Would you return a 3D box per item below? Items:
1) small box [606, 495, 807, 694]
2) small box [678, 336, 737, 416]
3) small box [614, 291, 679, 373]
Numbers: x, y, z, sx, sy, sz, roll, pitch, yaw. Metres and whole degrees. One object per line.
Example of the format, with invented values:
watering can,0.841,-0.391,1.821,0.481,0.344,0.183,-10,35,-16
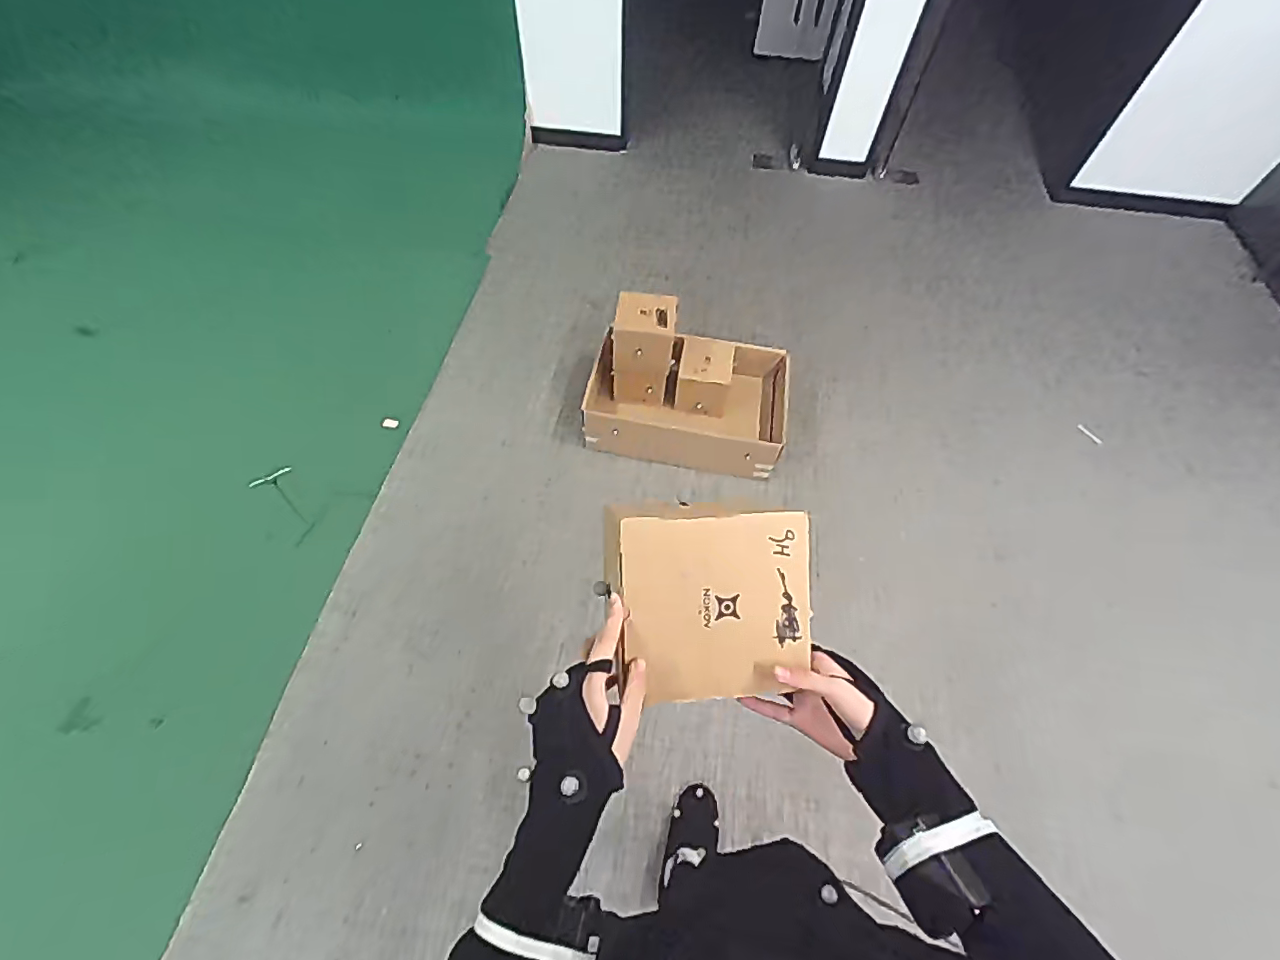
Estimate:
small box,0.054,0.103,0.557,0.179,0.176,0.168,-2,92,-7
small box,0.217,-0.338,1.764,0.168,0.176,0.179,9,59,6
small box,0.020,-0.443,1.632,0.179,0.176,0.168,6,59,2
